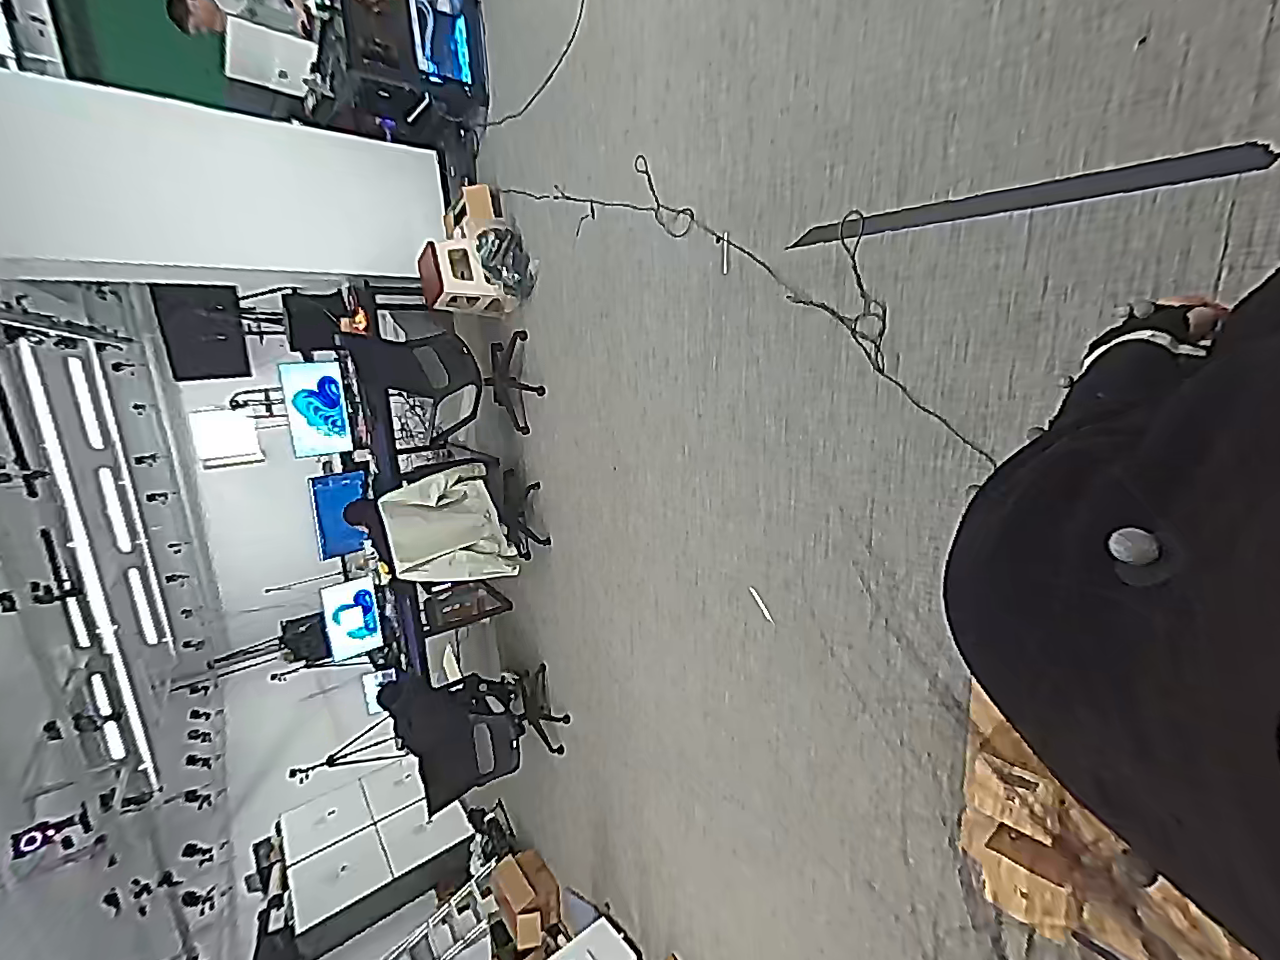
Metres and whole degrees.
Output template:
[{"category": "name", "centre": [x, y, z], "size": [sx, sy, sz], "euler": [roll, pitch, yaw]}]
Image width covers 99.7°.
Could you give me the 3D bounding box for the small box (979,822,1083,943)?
[{"category": "small box", "centre": [1.001, 1.007, 1.388], "size": [0.179, 0.176, 0.168], "euler": [5, 106, 52]}]

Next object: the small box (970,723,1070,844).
[{"category": "small box", "centre": [0.959, 0.751, 1.363], "size": [0.168, 0.176, 0.179], "euler": [8, 106, 52]}]
